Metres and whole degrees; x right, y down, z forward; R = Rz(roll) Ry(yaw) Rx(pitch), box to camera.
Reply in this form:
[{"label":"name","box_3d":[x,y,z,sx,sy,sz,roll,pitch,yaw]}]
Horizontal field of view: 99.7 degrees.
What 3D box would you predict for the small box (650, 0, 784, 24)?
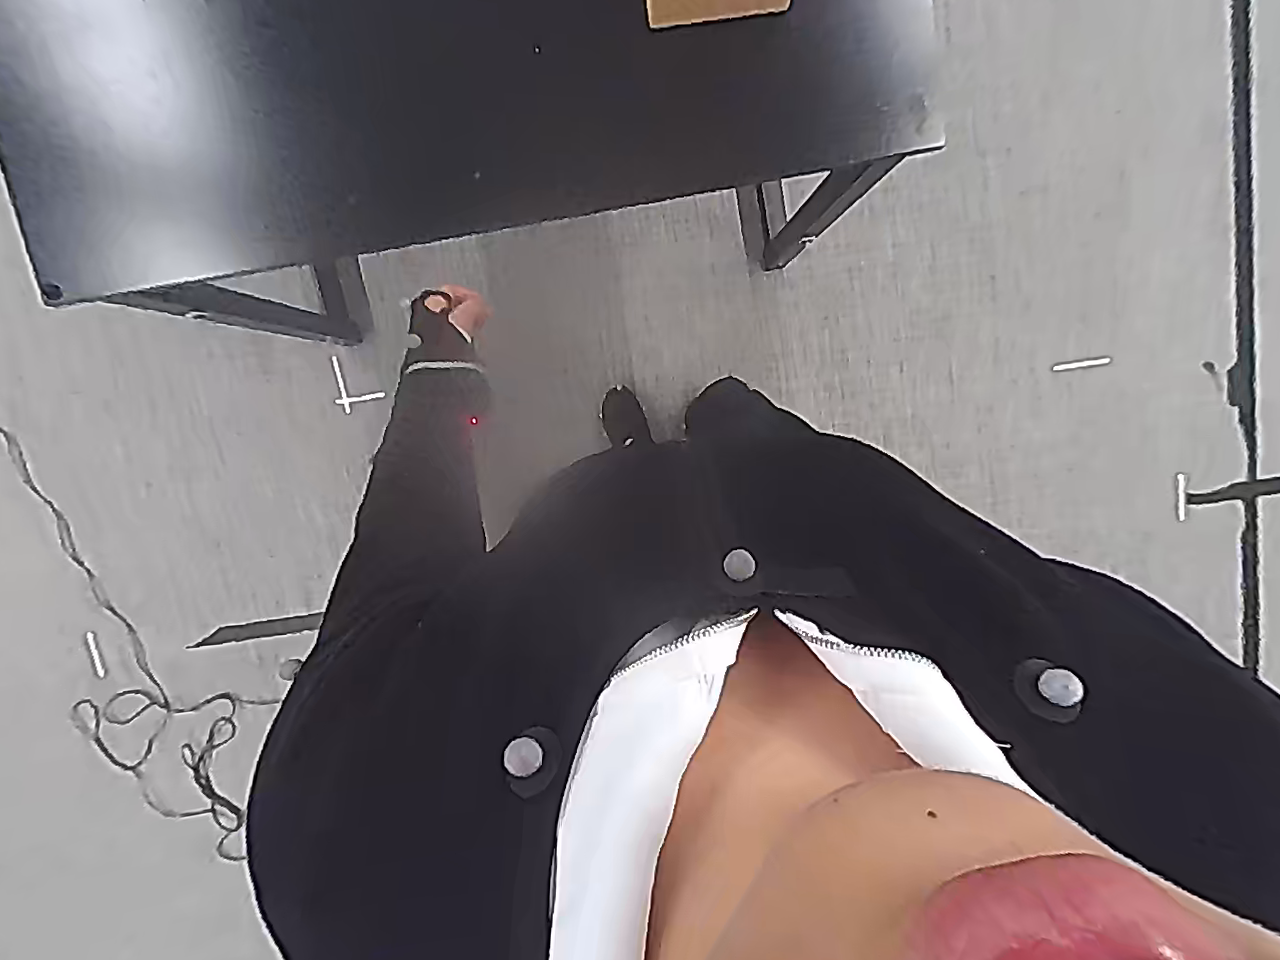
[{"label":"small box","box_3d":[0.091,-0.652,0.598,0.179,0.176,0.168,-8,98,0]}]
